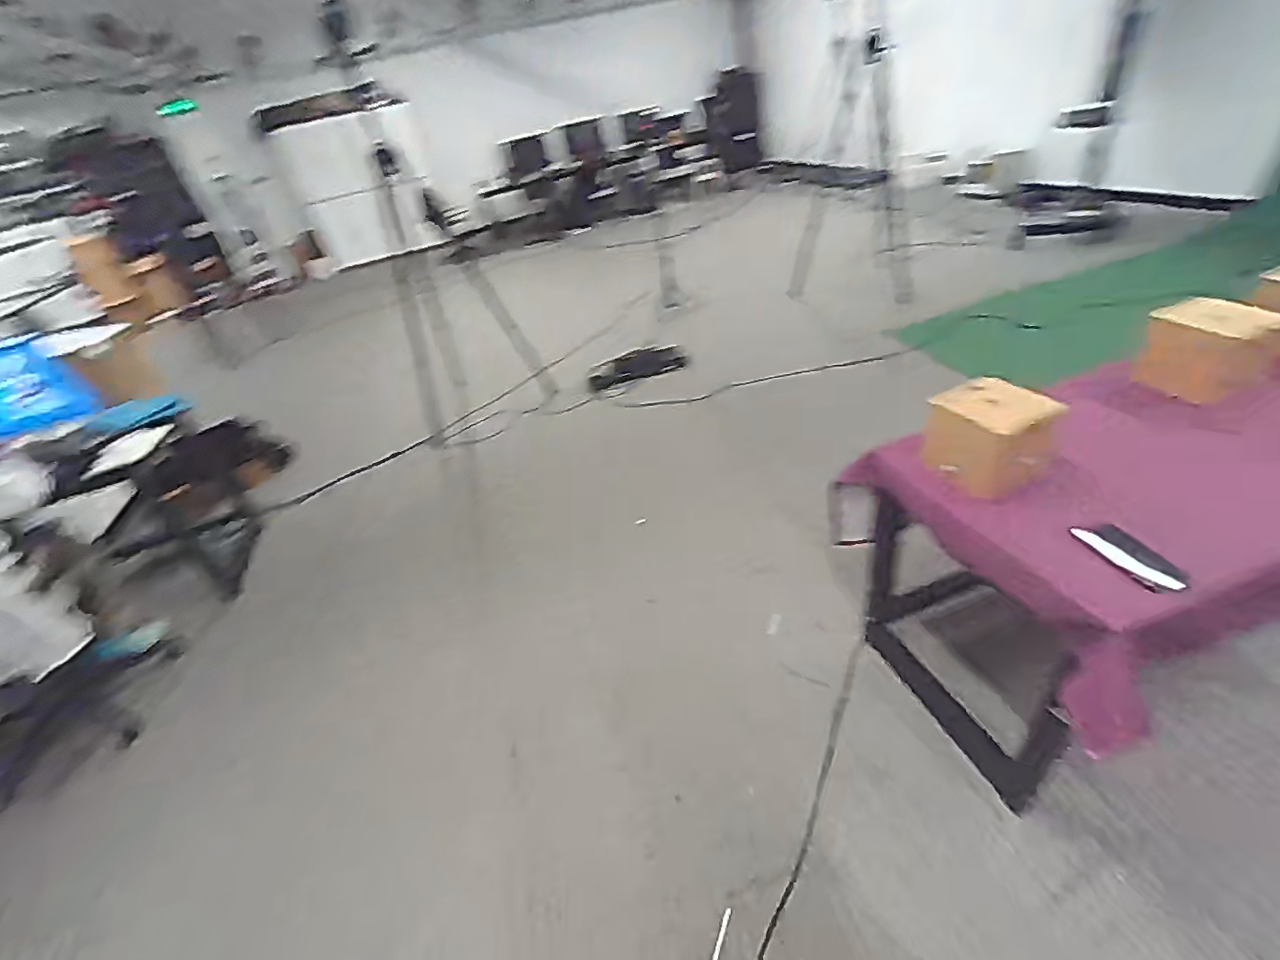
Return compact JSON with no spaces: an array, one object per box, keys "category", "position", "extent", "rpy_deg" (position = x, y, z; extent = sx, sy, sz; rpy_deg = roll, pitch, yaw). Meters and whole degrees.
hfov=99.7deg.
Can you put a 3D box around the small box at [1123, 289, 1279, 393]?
[{"category":"small box","position":[1.300,-0.326,1.267],"extent":[0.168,0.176,0.179],"rpy_deg":[-19,37,-8]}]

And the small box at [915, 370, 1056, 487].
[{"category":"small box","position":[0.723,-0.104,1.151],"extent":[0.168,0.176,0.179],"rpy_deg":[-22,38,-13]}]

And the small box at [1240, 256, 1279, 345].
[{"category":"small box","position":[1.608,-0.440,1.313],"extent":[0.168,0.176,0.179],"rpy_deg":[-21,37,-8]}]
